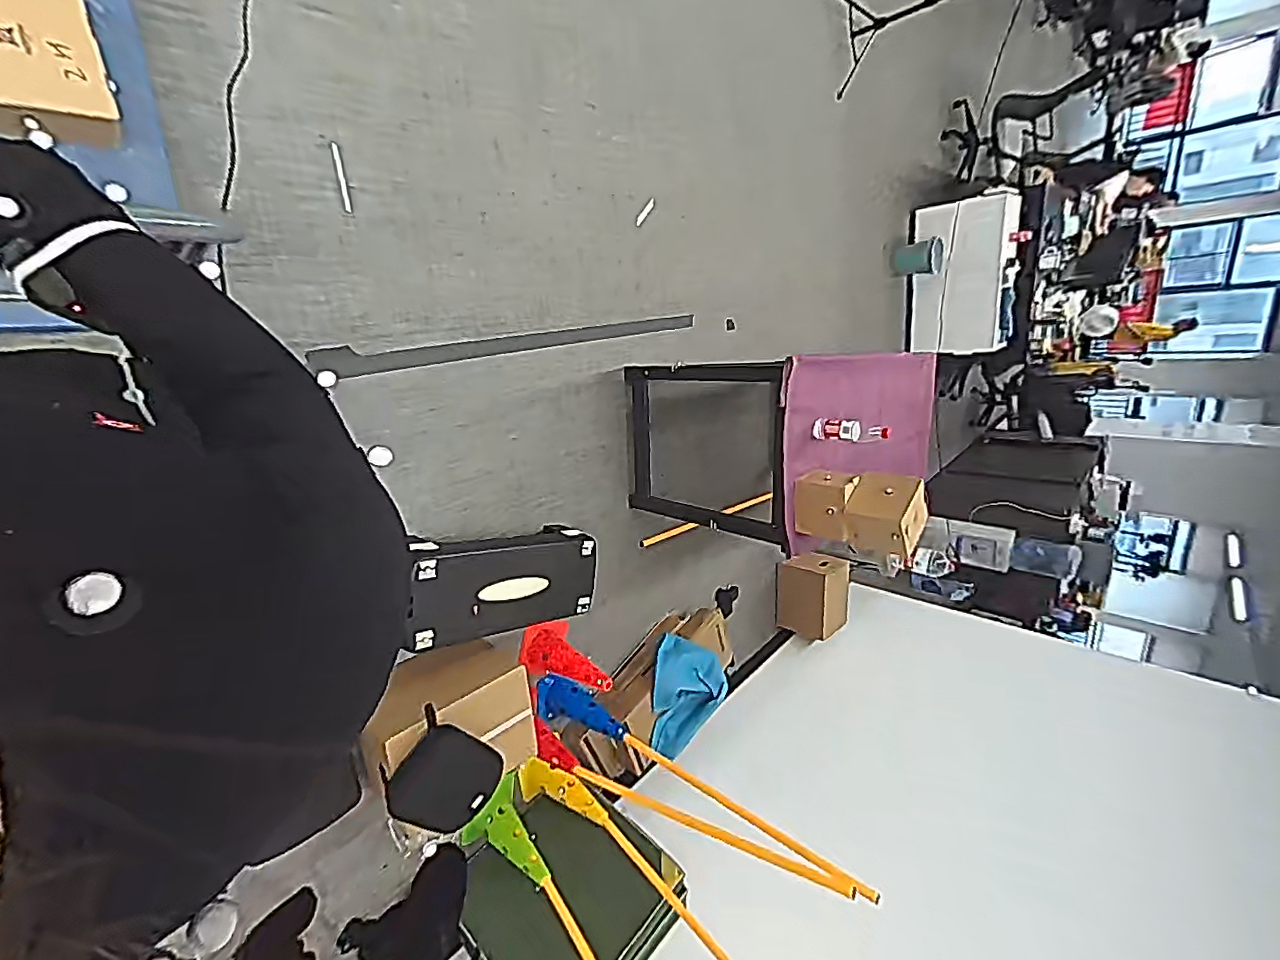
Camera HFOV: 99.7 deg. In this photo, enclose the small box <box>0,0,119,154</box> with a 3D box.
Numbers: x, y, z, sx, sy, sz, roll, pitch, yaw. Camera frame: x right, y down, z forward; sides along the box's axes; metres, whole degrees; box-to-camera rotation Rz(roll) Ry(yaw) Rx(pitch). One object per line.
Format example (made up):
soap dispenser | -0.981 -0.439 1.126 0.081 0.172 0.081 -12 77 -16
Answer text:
small box | -0.902 -0.597 0.788 0.179 0.176 0.168 -20 113 -42
